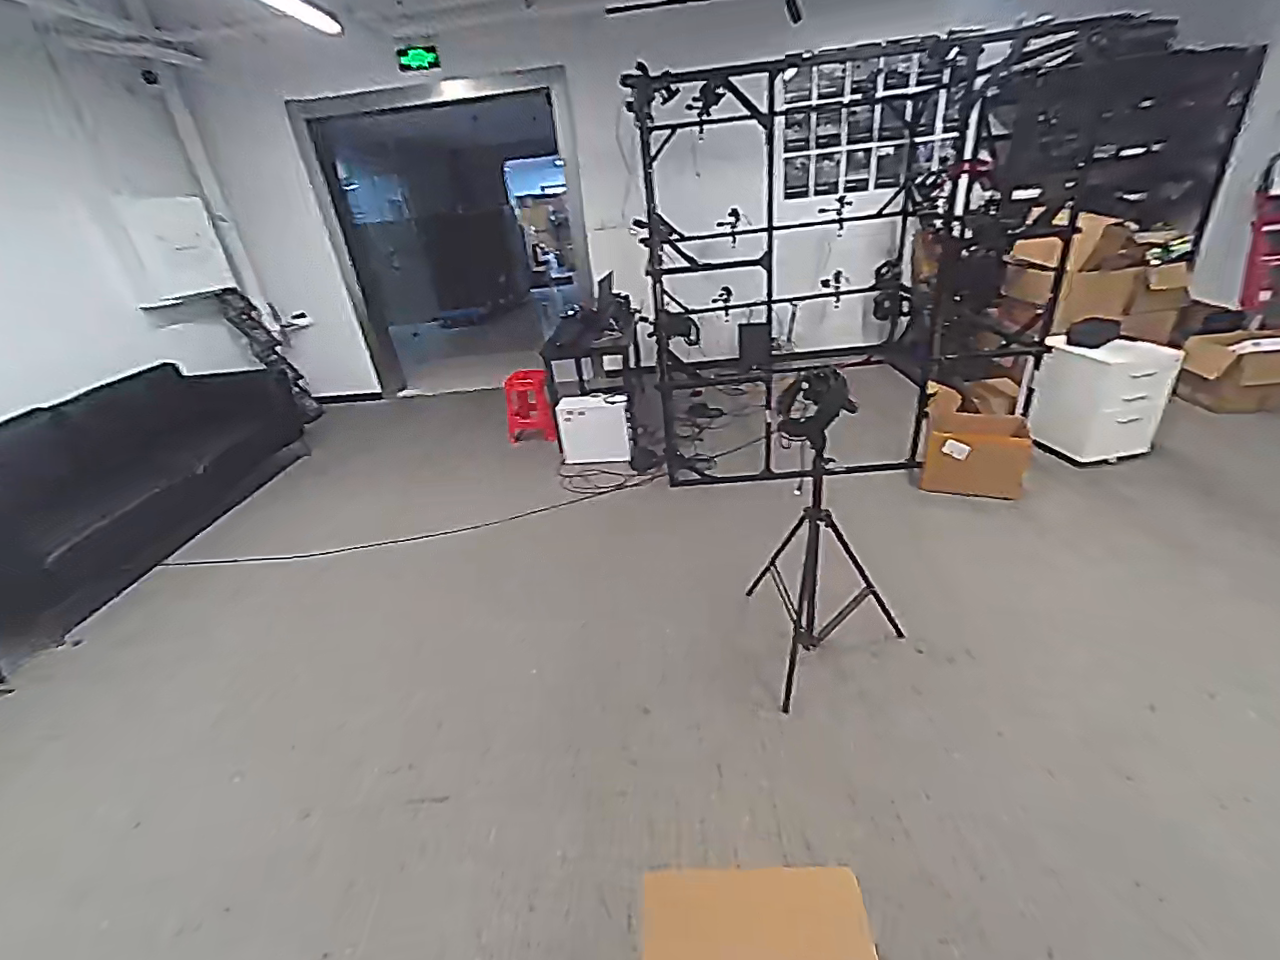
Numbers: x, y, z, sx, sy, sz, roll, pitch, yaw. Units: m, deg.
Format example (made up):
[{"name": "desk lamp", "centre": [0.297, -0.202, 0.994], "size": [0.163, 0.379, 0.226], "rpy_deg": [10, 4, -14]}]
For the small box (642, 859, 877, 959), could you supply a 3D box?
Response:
[{"name": "small box", "centre": [0.087, 0.415, 0.398], "size": [0.168, 0.176, 0.179], "rpy_deg": [-4, 34, 2]}]
